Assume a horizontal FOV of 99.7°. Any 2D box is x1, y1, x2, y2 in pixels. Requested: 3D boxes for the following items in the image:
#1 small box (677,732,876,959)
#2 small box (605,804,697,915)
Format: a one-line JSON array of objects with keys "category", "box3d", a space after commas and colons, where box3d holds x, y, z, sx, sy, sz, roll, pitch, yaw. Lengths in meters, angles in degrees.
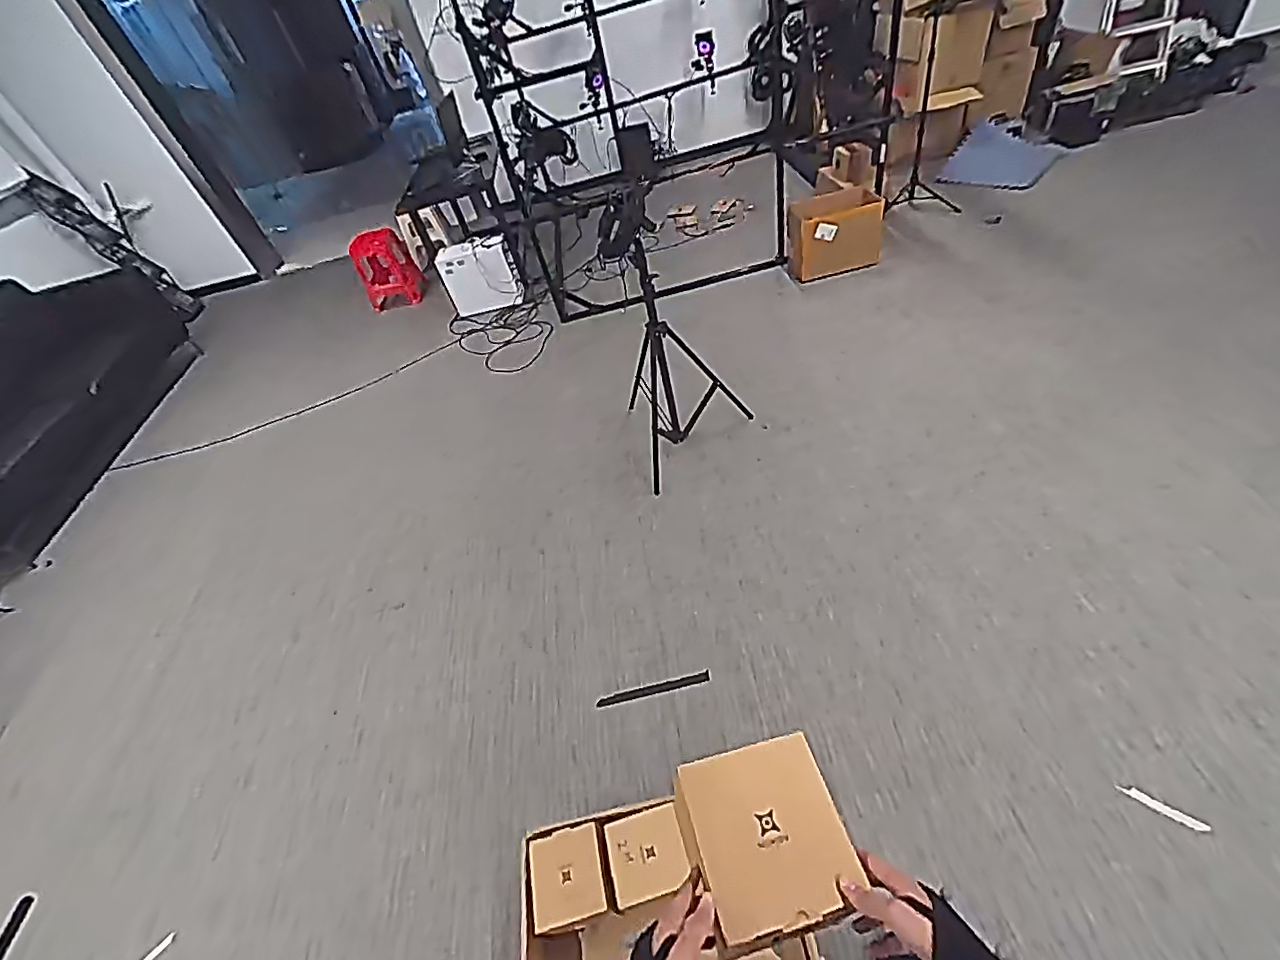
[{"category": "small box", "box3d": [0.144, 0.440, 0.651, 0.168, 0.176, 0.179, -12, 46, -8]}, {"category": "small box", "box3d": [0.033, 0.891, 1.268, 0.179, 0.176, 0.168, -18, 46, -2]}]
